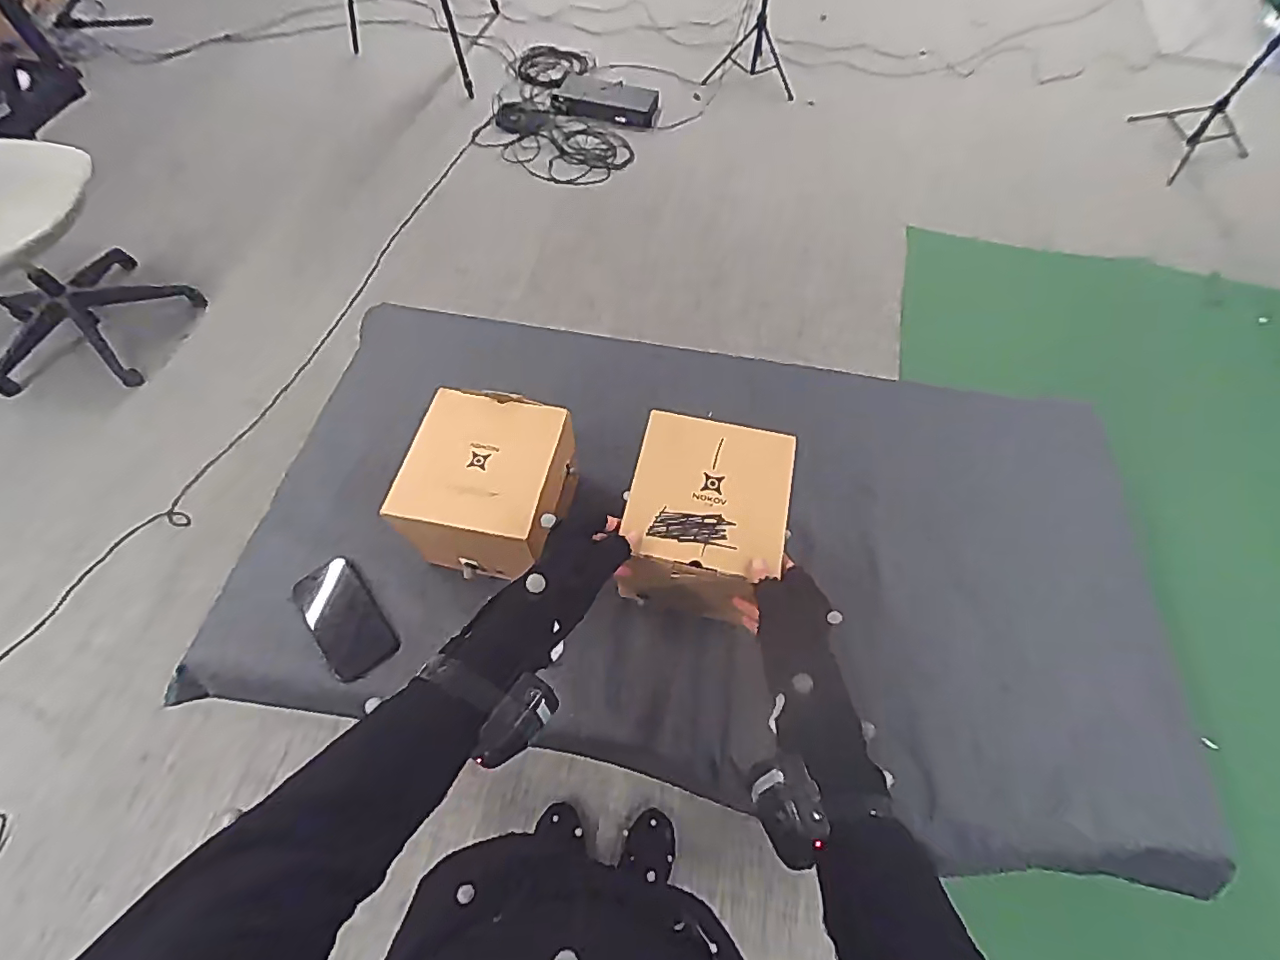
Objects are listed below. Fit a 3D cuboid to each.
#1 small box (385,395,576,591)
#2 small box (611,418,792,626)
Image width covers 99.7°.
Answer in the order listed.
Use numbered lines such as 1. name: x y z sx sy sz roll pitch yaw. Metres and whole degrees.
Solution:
1. small box: -0.182 0.022 0.685 0.168 0.176 0.179 9 62 5
2. small box: 0.070 0.057 0.636 0.168 0.176 0.179 11 61 6
